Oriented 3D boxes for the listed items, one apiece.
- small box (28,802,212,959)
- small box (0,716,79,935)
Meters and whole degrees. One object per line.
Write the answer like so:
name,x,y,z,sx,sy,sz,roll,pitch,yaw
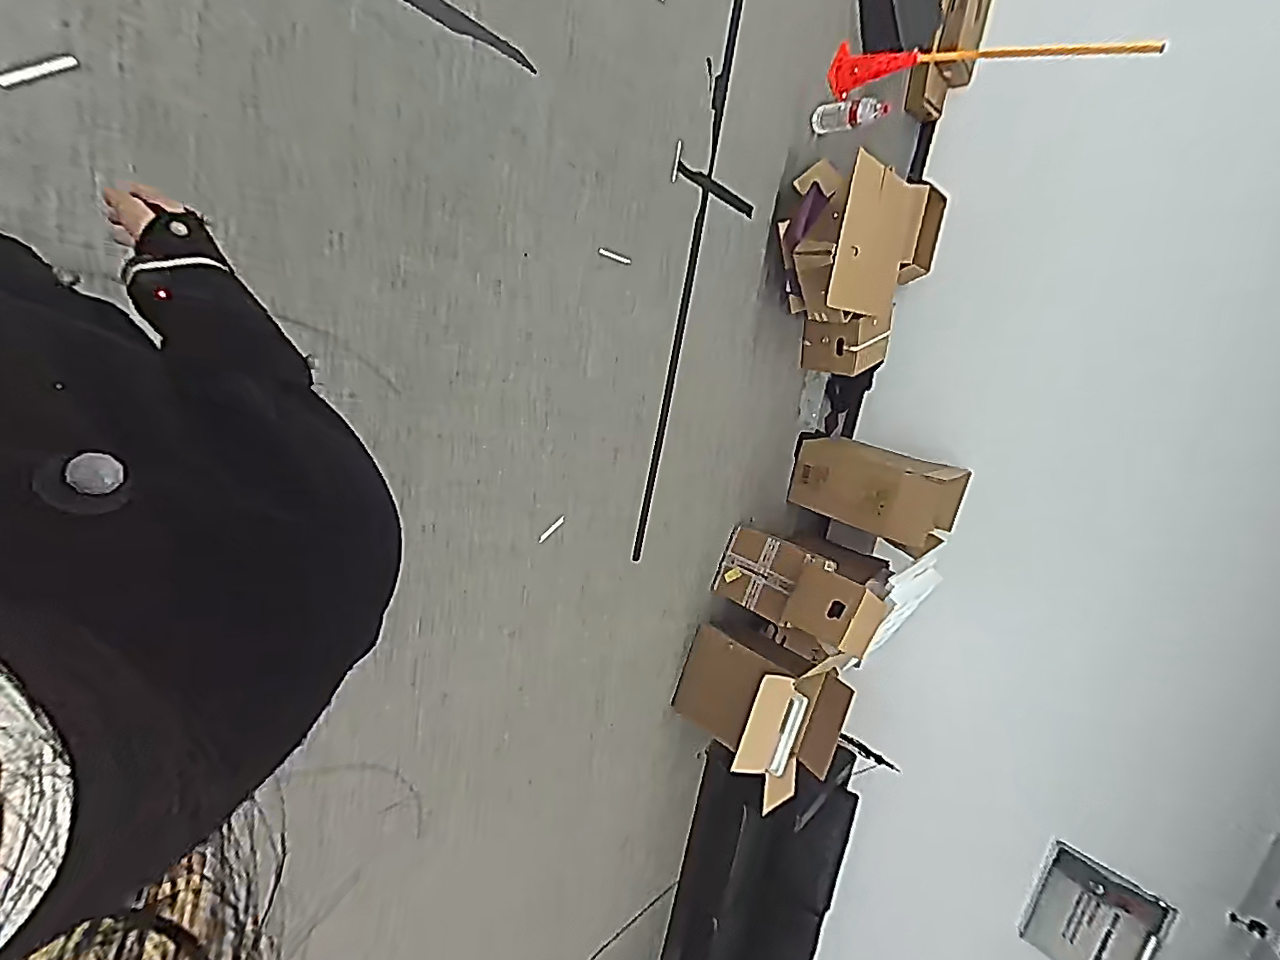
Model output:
small box,-0.714,0.583,0.742,0.168,0.176,0.179,1,105,-48
small box,-0.760,0.394,0.609,0.168,0.176,0.179,2,104,-48
